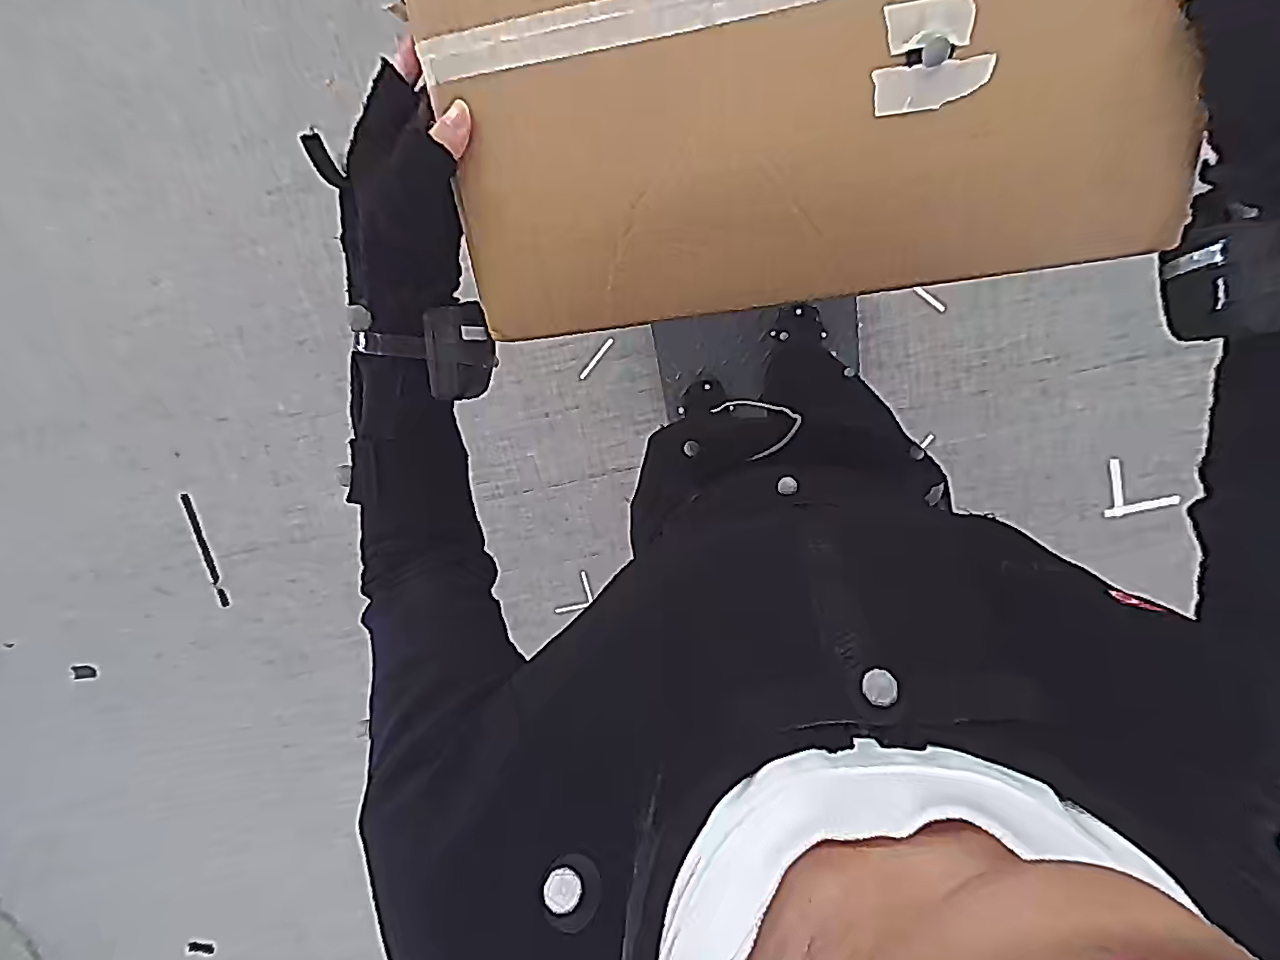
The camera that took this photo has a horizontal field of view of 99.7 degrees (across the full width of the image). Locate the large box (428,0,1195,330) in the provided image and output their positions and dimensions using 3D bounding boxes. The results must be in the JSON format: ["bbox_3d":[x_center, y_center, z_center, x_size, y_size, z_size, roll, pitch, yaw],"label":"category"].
[{"bbox_3d":[0.091,-0.320,0.424,0.408,0.320,0.320,-6,112,8],"label":"large box"}]
